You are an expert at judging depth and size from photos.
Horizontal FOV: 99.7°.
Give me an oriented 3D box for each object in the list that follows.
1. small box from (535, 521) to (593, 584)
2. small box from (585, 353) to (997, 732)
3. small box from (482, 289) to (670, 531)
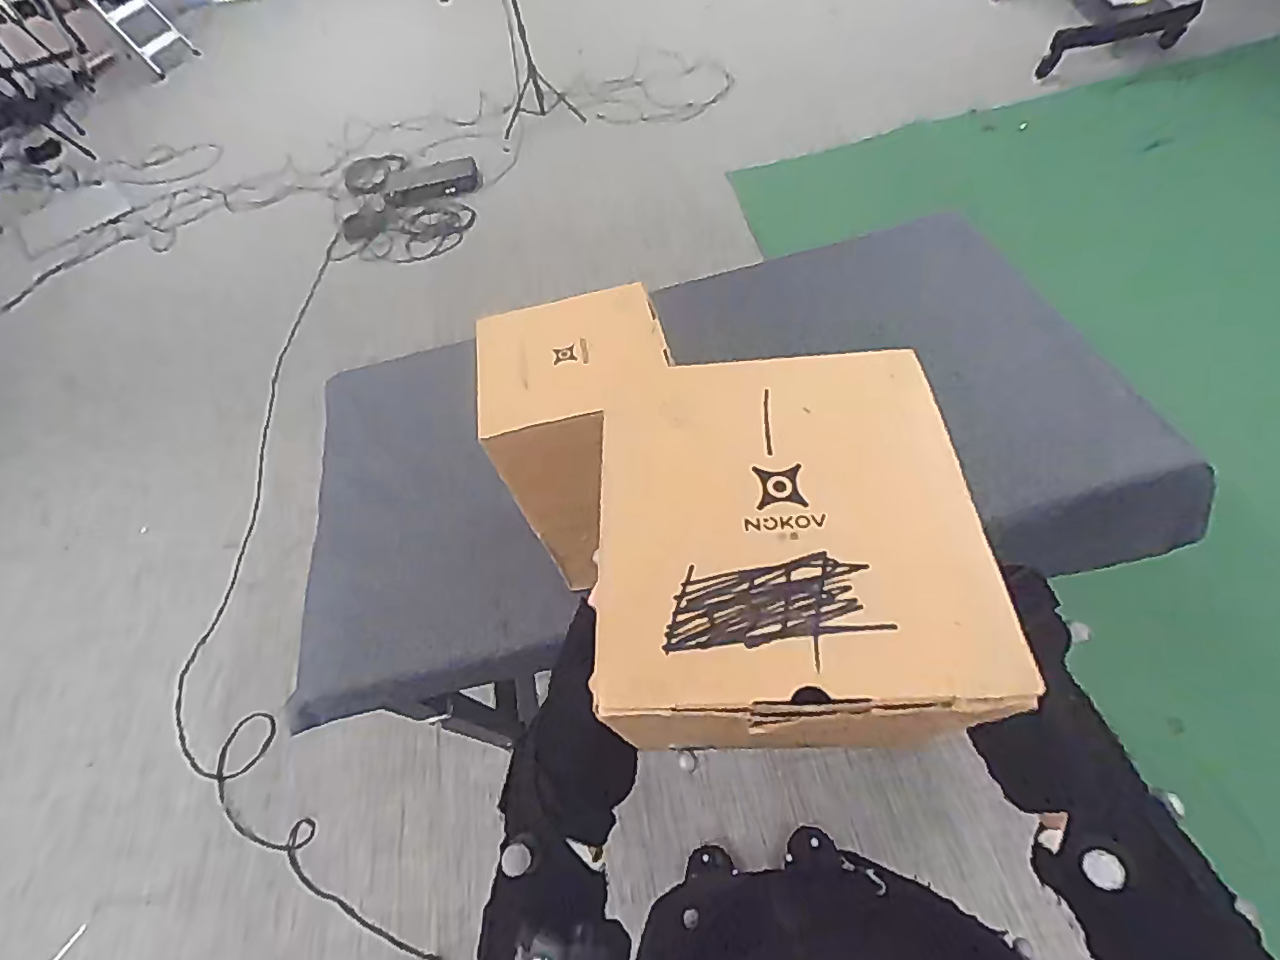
[{"bbox_3d":[-0.033,0.020,0.711,0.179,0.176,0.168,-13,55,1],"label":"small box"},{"bbox_3d":[0.066,0.050,0.326,0.168,0.176,0.179,-3,58,4],"label":"small box"},{"bbox_3d":[-0.054,-0.068,0.576,0.179,0.176,0.168,-13,53,1],"label":"small box"}]
